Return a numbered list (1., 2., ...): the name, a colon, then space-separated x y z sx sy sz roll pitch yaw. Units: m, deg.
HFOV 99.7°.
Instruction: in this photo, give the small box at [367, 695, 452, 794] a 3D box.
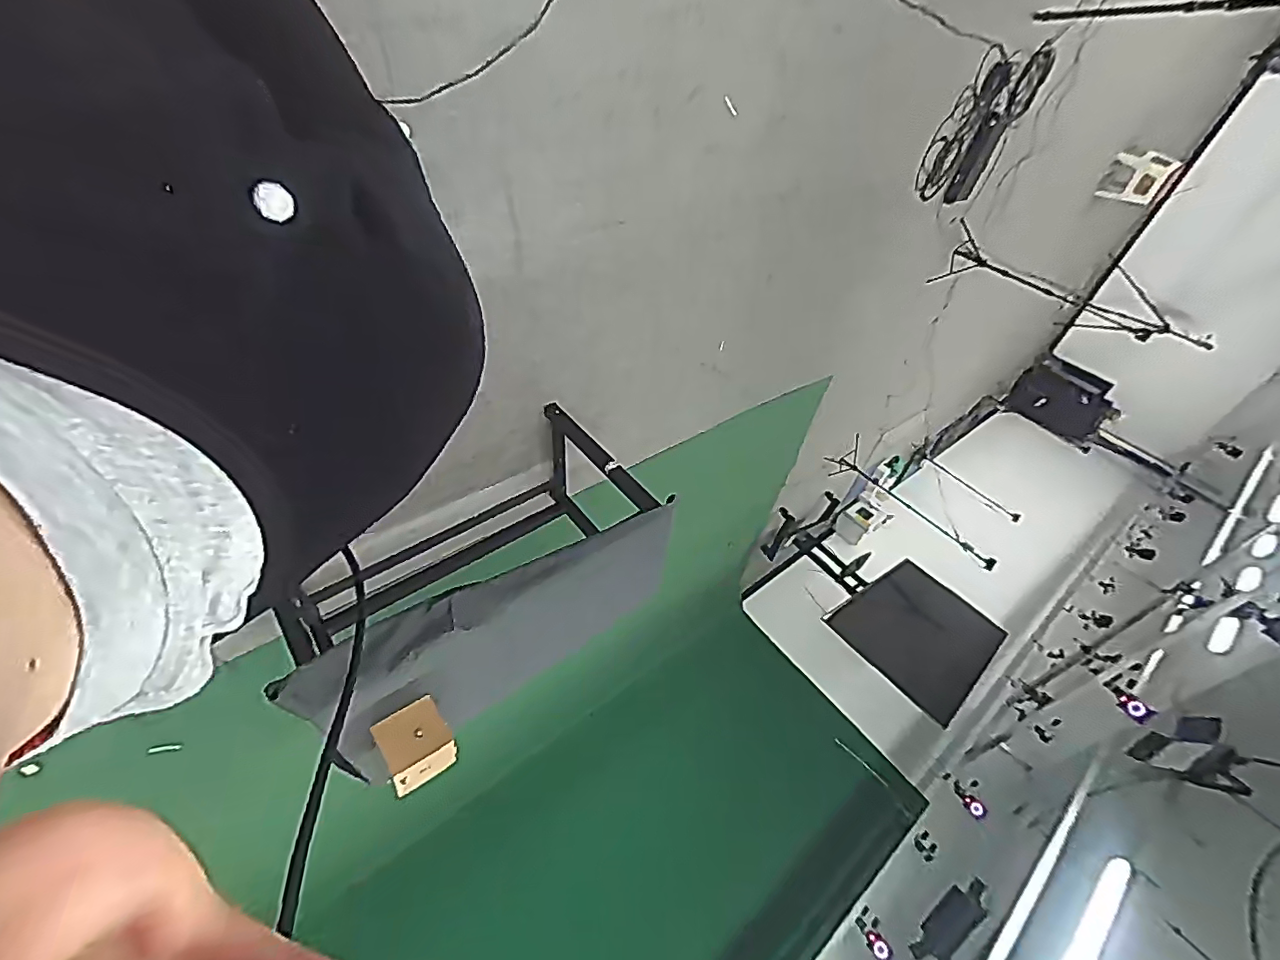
1. small box: -0.677 0.774 1.595 0.179 0.176 0.168 -24 144 -35
